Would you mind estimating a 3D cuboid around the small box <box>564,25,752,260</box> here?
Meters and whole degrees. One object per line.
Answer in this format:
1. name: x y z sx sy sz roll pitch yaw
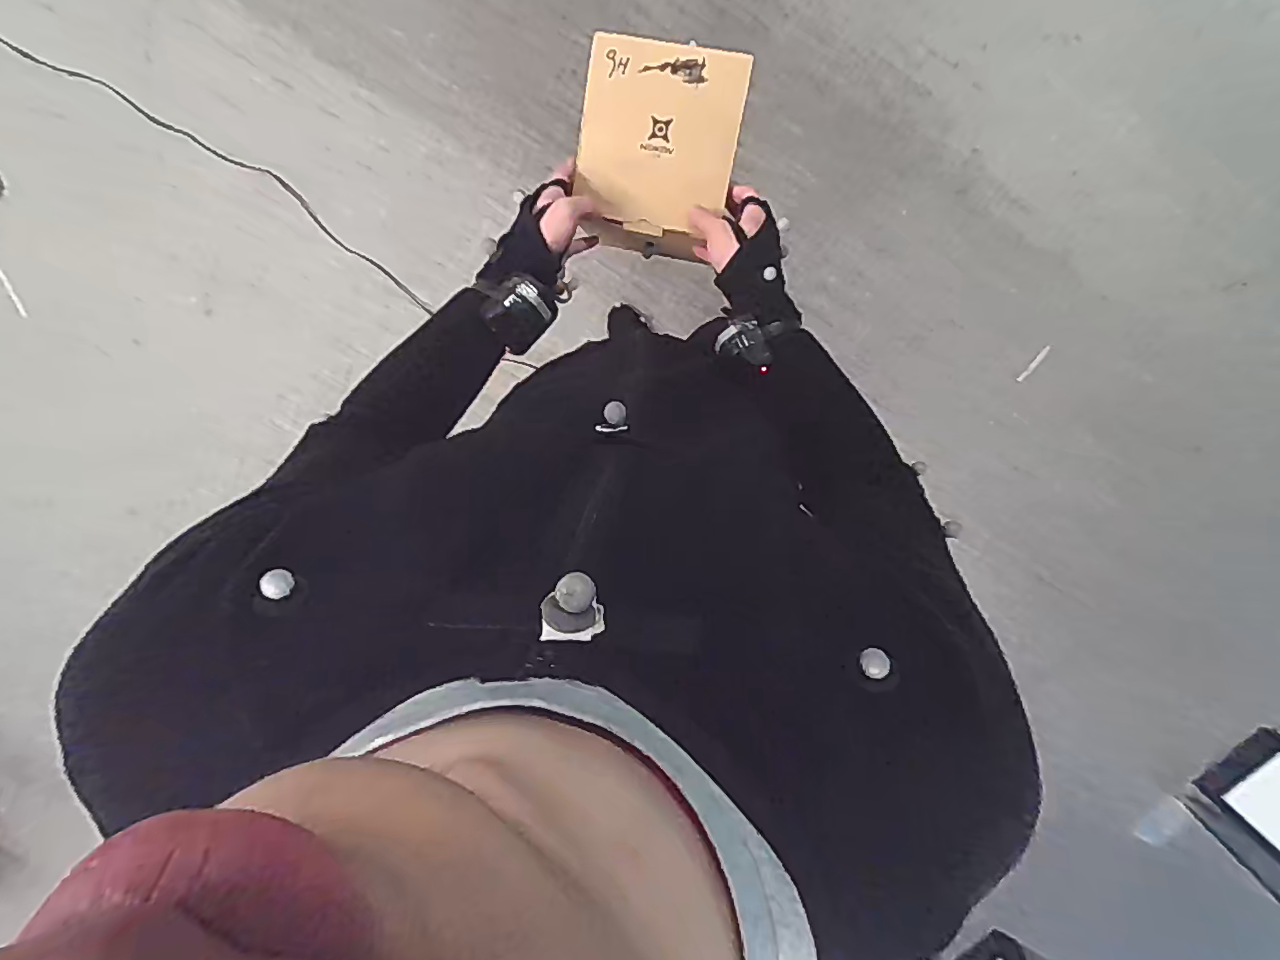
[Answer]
1. small box: 0.023 -0.366 0.623 0.168 0.176 0.179 12 104 3
